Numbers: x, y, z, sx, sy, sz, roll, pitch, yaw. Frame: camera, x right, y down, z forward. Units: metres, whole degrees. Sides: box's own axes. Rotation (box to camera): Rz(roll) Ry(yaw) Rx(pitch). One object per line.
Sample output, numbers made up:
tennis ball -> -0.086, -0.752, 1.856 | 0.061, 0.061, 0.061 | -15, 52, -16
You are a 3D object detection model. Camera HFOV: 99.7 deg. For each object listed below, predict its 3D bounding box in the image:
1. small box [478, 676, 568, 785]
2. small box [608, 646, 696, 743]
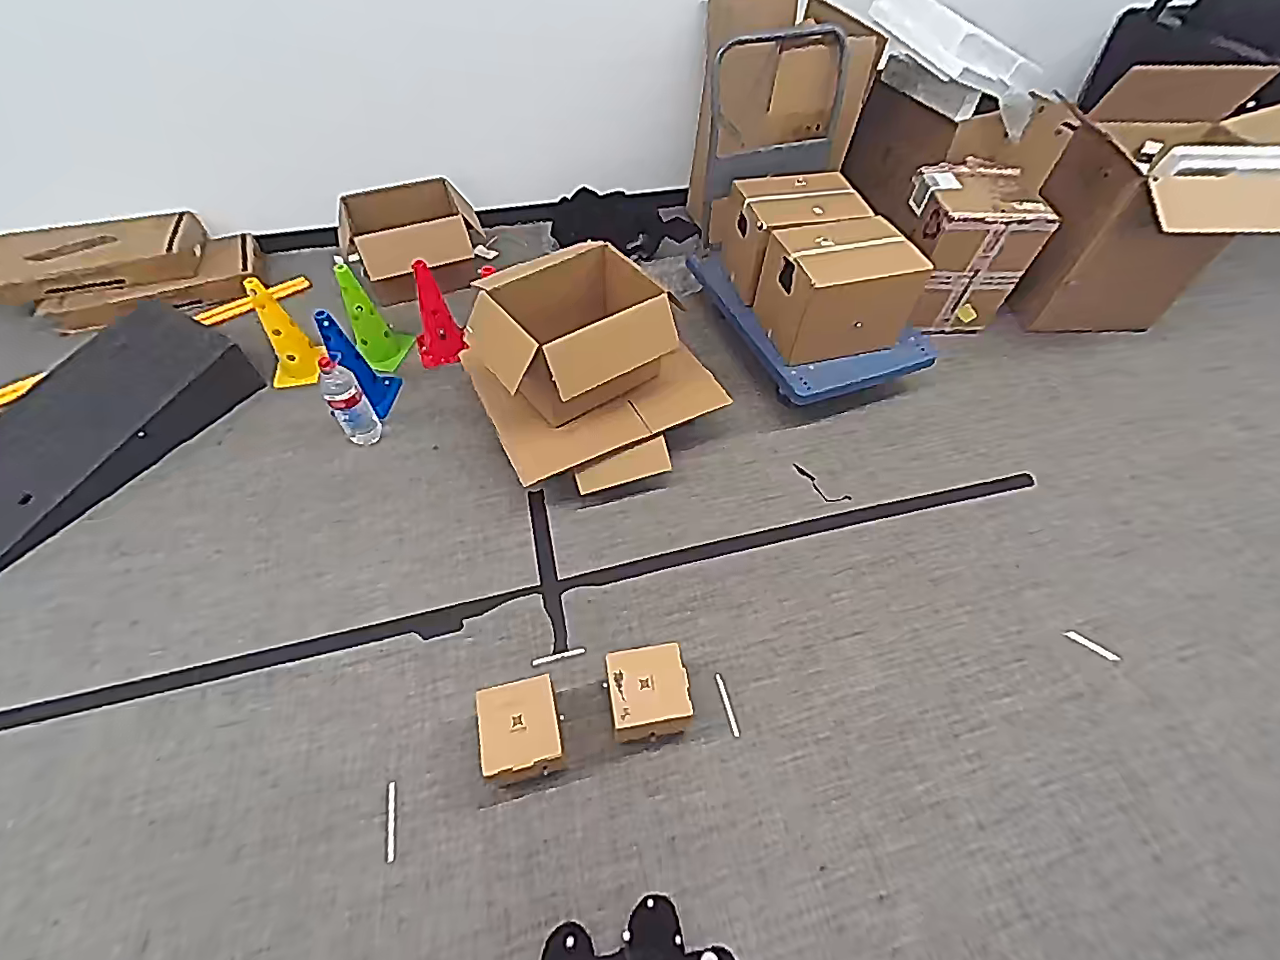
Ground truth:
small box -> -0.259, 0.569, 1.216 | 0.168, 0.176, 0.179 | -11, 55, -11
small box -> 0.020, 0.506, 1.272 | 0.179, 0.176, 0.168 | -6, 55, -8
